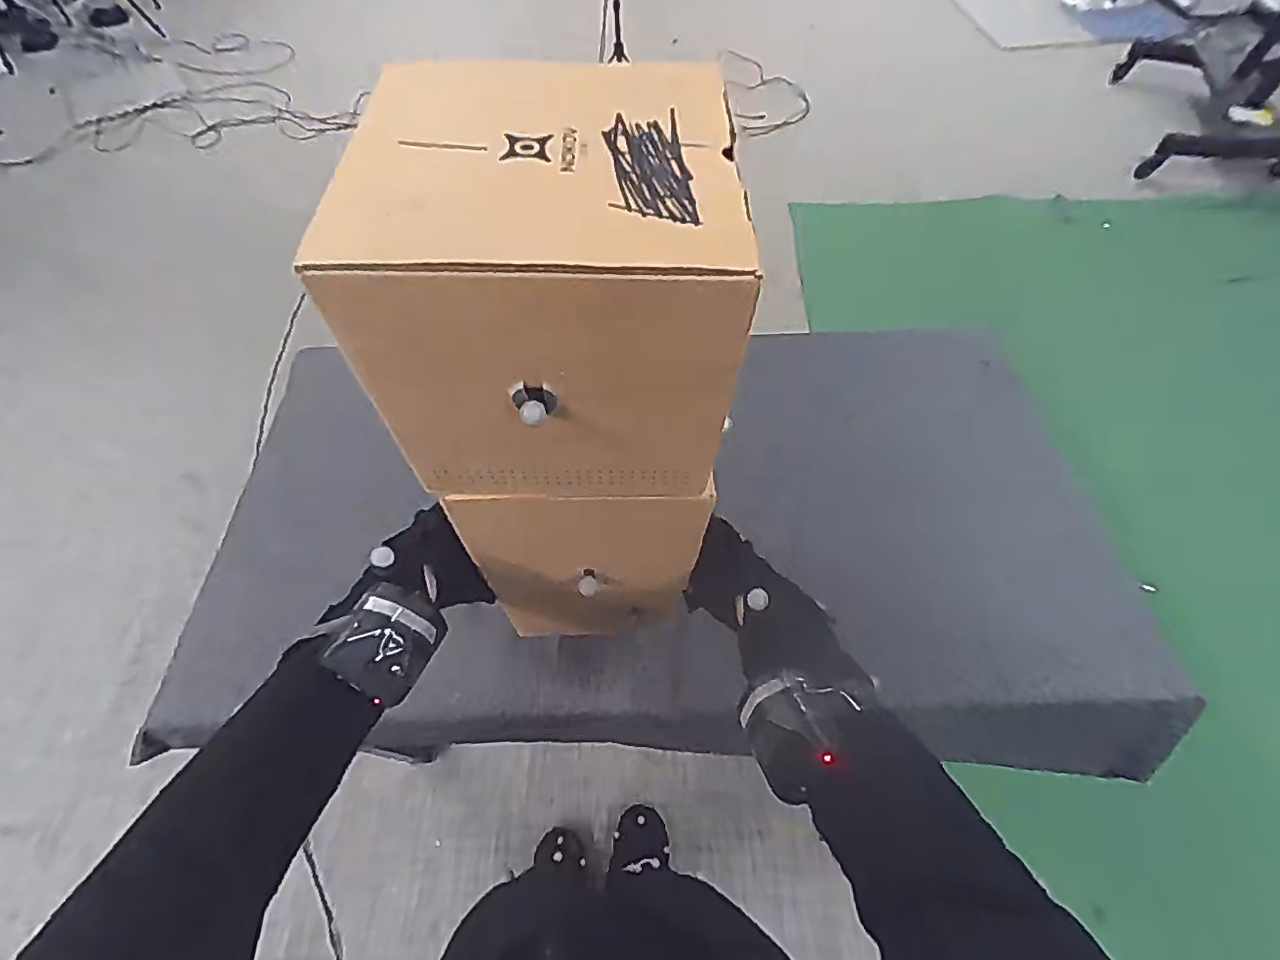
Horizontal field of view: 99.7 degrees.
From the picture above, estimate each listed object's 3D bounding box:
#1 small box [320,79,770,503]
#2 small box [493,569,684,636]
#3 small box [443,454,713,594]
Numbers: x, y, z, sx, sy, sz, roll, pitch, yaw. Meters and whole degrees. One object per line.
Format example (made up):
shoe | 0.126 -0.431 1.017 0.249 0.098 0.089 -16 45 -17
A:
small box | -0.043 -0.096 0.316 0.179 0.176 0.168 -2 59 -4
small box | -0.050 0.069 0.599 0.179 0.176 0.168 -2 58 -1
small box | -0.044 -0.011 0.455 0.179 0.176 0.168 0 57 -3
